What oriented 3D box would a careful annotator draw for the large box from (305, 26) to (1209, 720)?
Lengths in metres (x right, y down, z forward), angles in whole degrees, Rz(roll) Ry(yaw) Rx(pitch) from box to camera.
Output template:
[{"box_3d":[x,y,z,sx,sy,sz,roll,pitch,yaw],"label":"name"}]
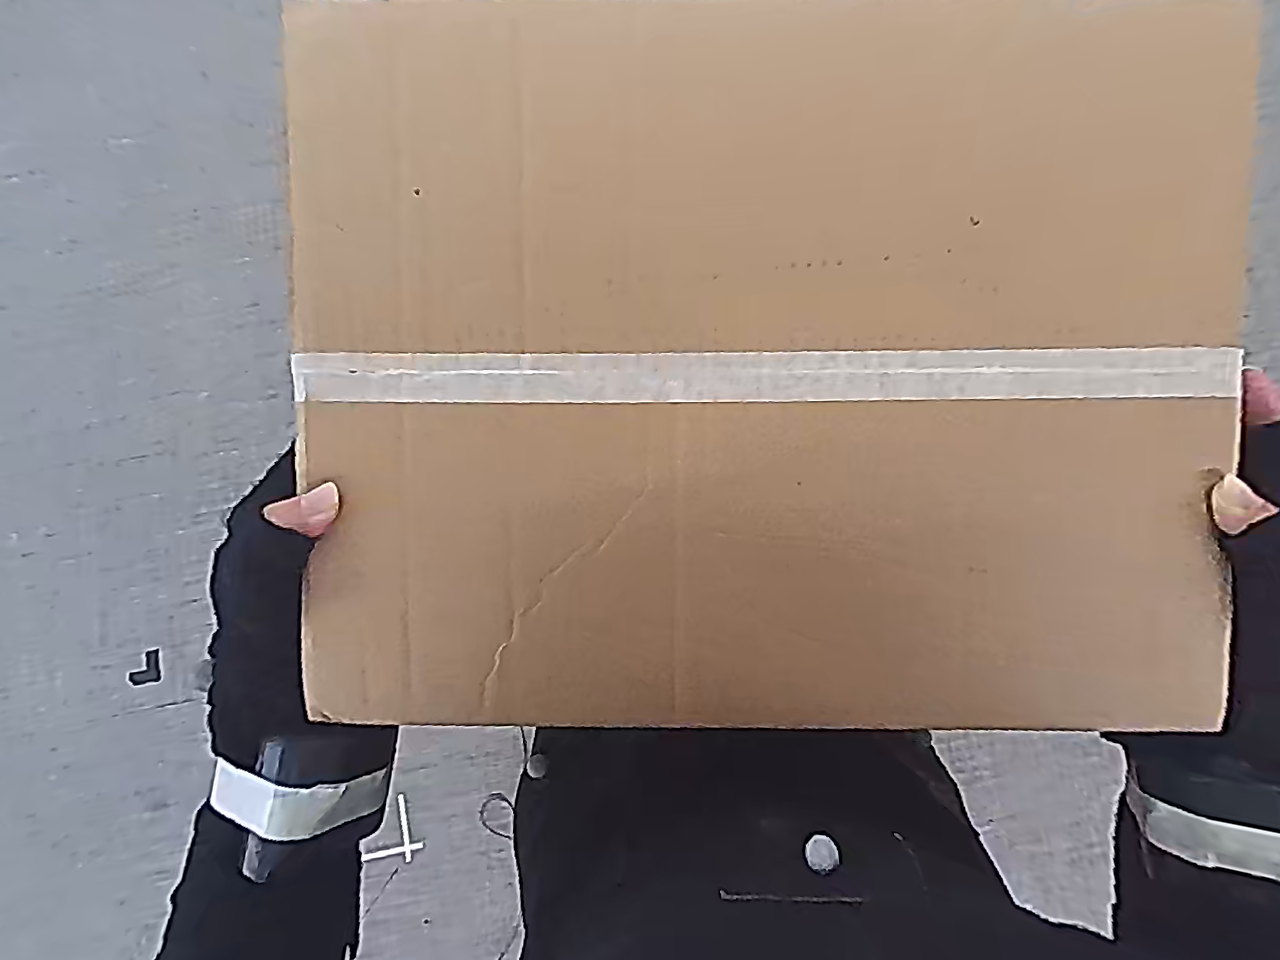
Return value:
[{"box_3d":[0.054,-0.050,0.395,0.408,0.320,0.320,0,93,1],"label":"large box"}]
